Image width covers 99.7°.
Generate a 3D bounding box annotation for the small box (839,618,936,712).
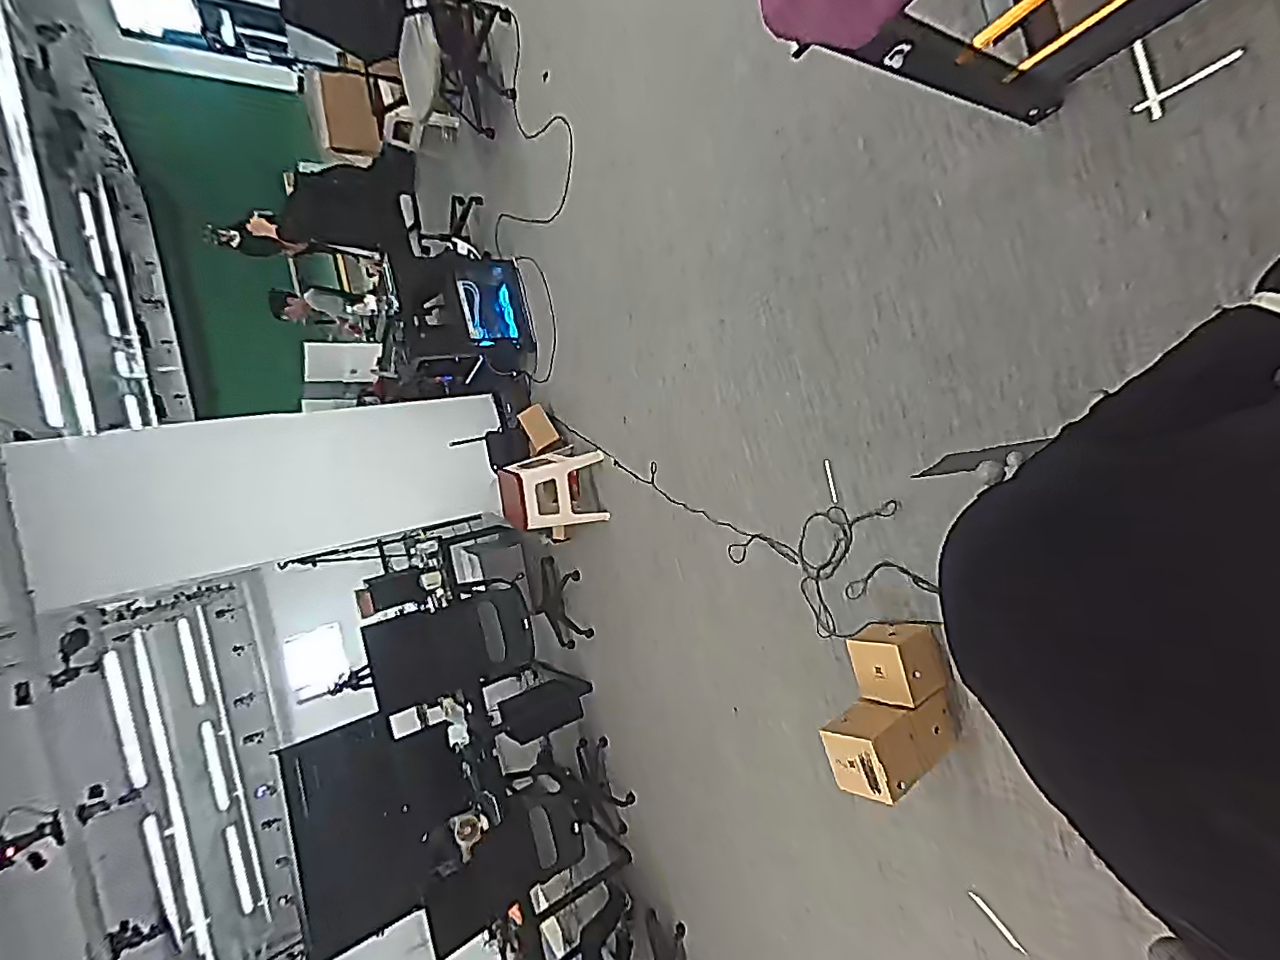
[{"bbox_3d":[0.681,0.507,1.493,0.179,0.176,0.168,22,106,41],"label":"small box"}]
